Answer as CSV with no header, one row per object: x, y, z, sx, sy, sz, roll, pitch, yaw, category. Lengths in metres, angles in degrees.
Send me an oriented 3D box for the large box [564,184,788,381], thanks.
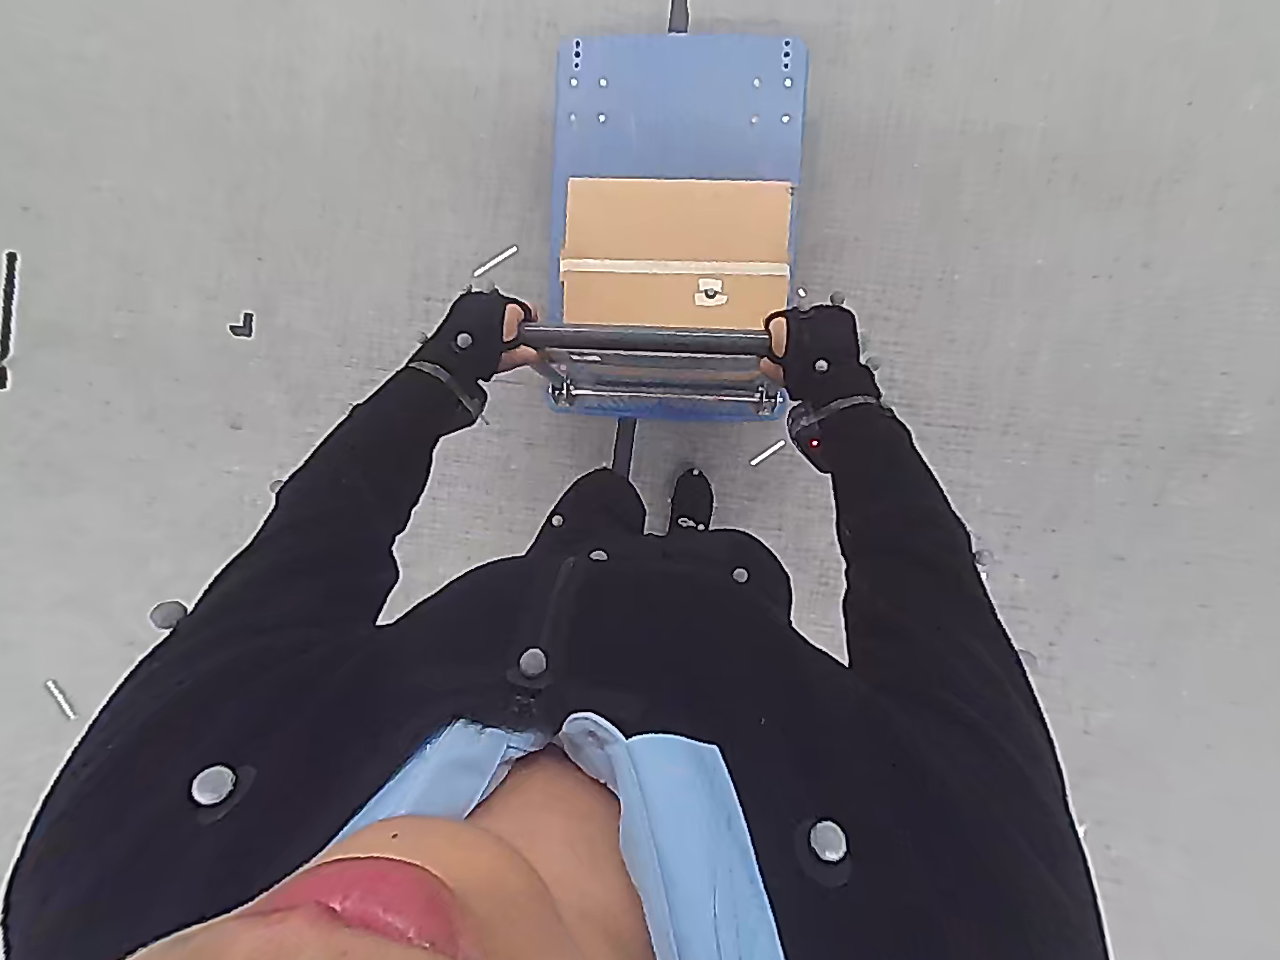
0.066,-0.383,1.127,0.408,0.320,0.320,3,94,2,large box
